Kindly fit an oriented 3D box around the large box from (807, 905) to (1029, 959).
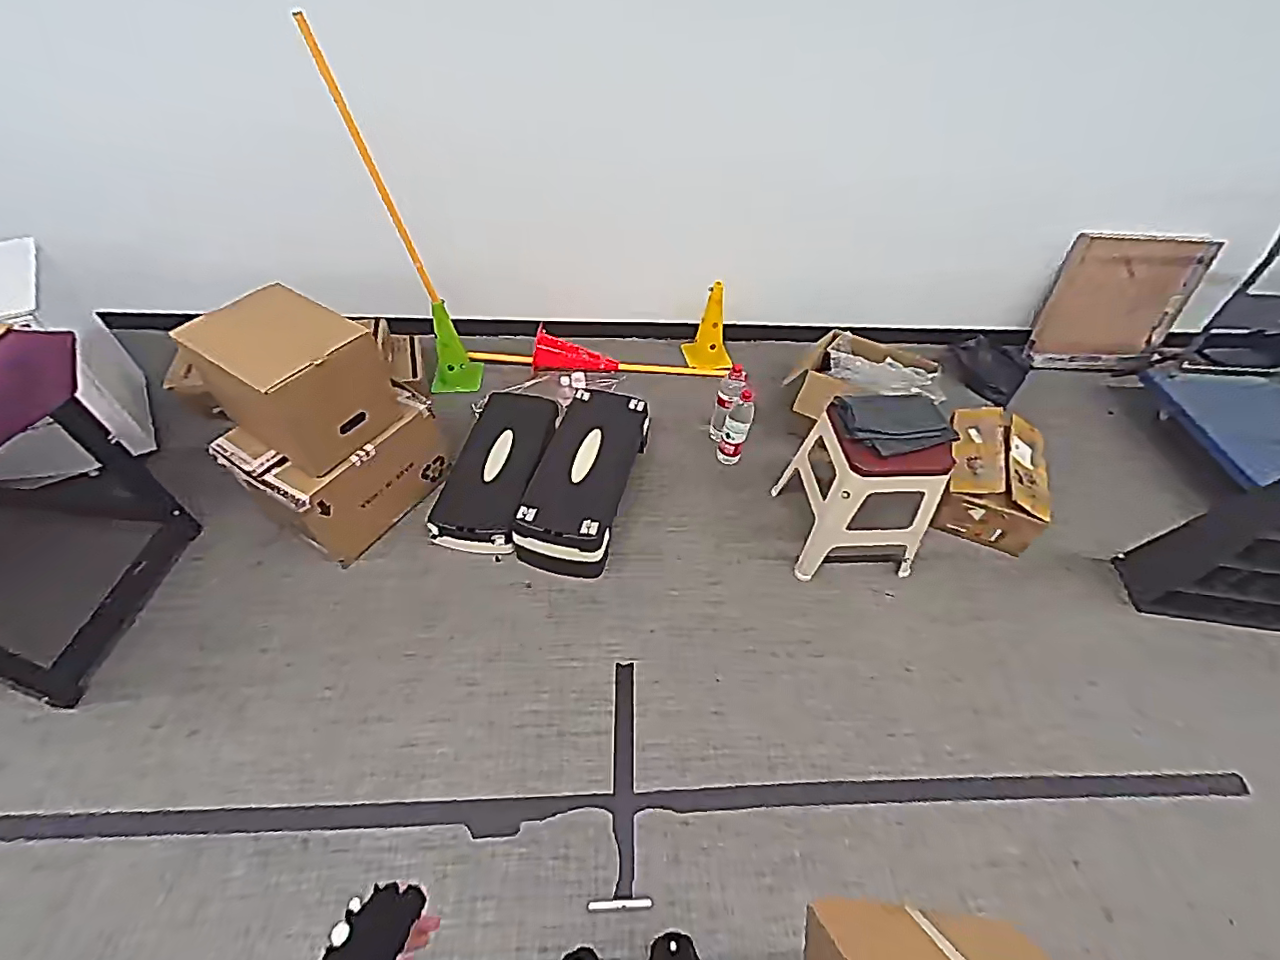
[{"bbox_3d":[0.390,0.773,0.593,0.320,0.408,0.320,9,79,-1],"label":"large box"}]
